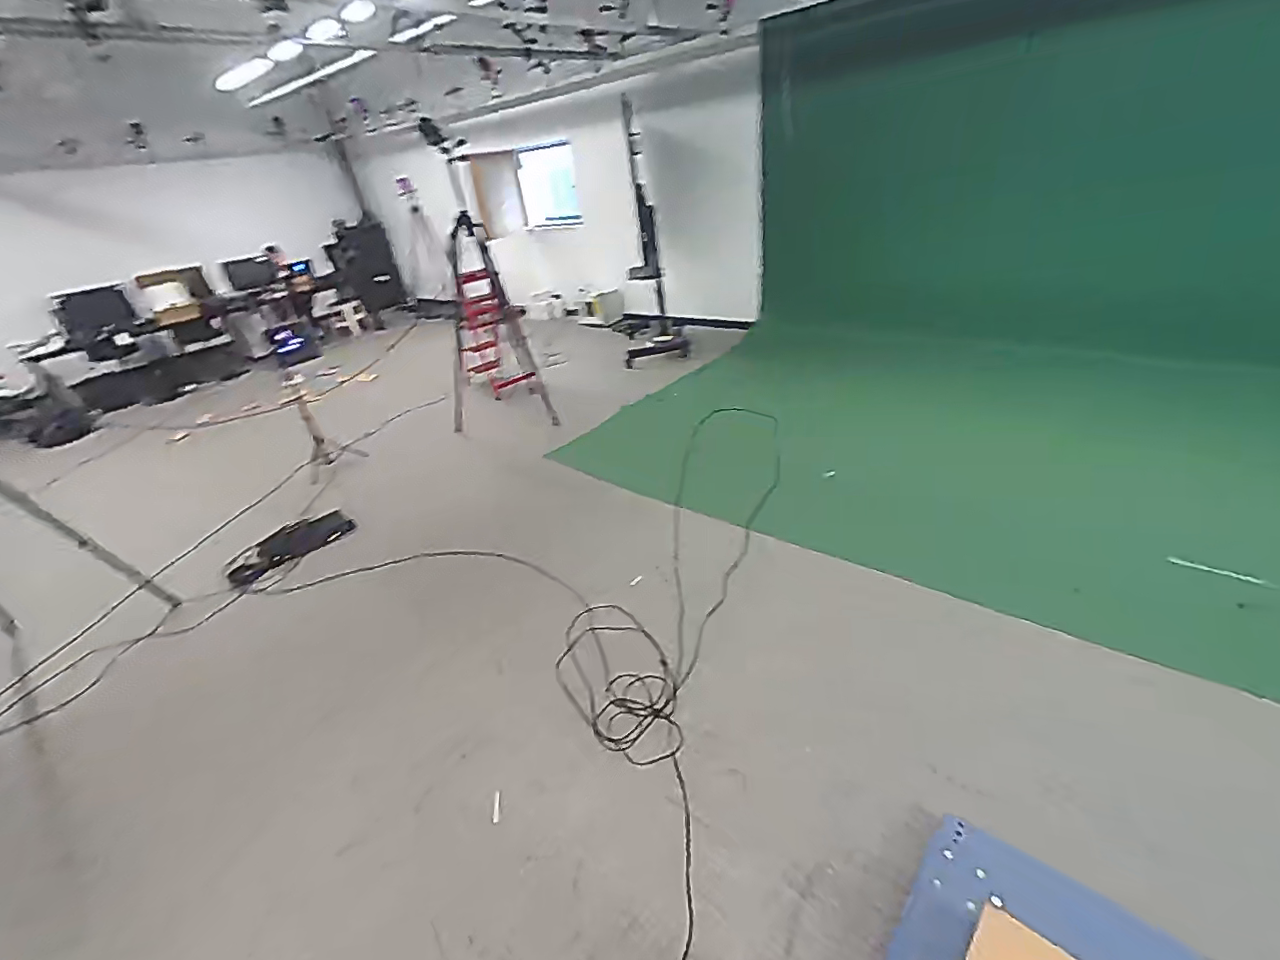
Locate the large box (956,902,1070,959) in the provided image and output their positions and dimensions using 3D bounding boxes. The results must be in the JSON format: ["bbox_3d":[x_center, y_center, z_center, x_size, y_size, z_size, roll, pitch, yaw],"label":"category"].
[{"bbox_3d":[0.614,1.020,0.841,0.320,0.320,0.408,21,40,39],"label":"large box"}]
